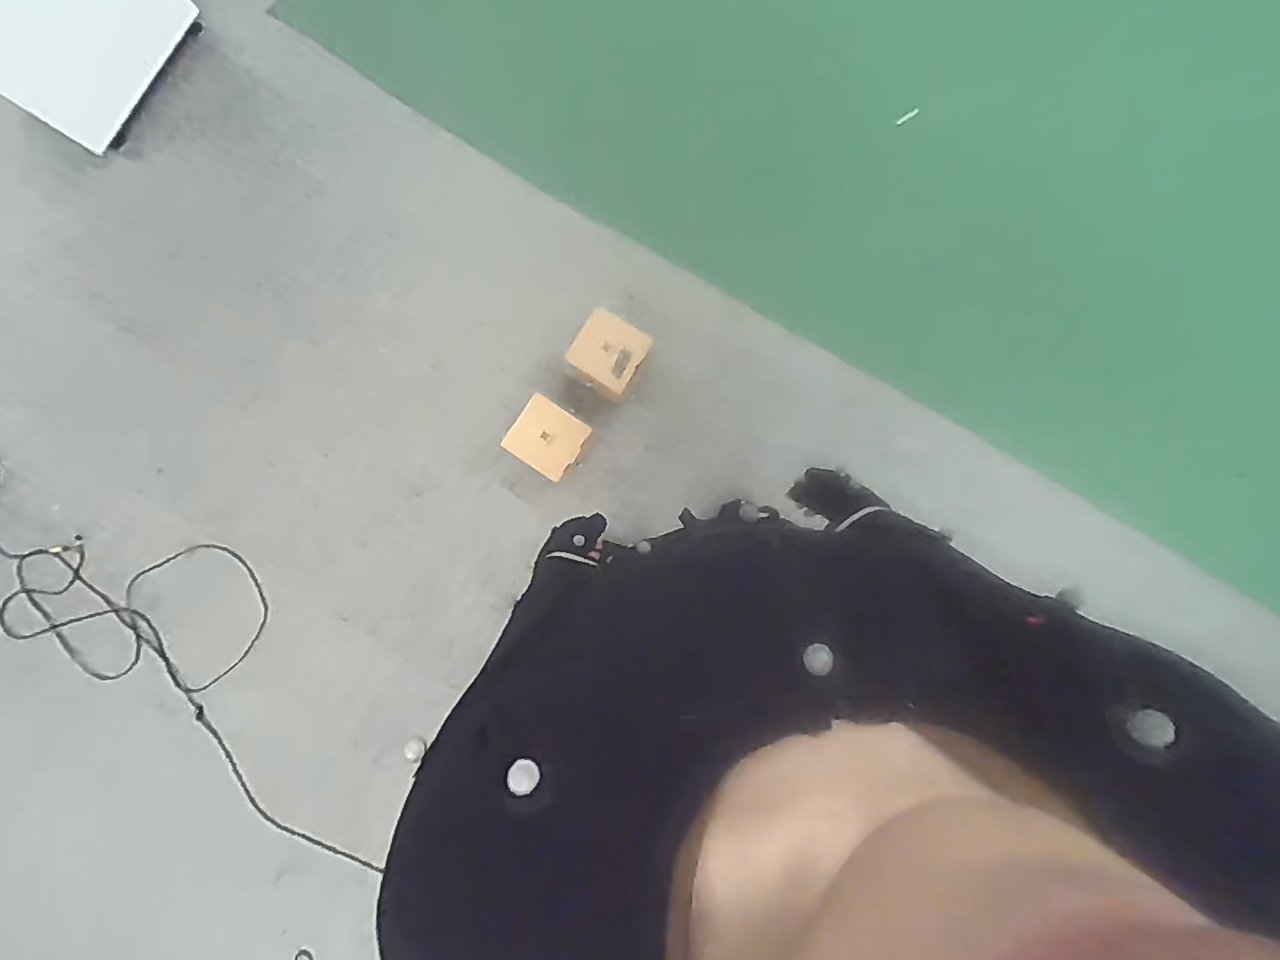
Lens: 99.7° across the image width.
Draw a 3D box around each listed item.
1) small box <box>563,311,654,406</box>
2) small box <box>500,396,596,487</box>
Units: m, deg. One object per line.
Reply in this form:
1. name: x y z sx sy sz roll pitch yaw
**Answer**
1. small box: -0.077 -0.311 1.432 0.179 0.176 0.168 33 88 3
2. small box: -0.233 -0.092 1.423 0.179 0.176 0.168 33 88 2
